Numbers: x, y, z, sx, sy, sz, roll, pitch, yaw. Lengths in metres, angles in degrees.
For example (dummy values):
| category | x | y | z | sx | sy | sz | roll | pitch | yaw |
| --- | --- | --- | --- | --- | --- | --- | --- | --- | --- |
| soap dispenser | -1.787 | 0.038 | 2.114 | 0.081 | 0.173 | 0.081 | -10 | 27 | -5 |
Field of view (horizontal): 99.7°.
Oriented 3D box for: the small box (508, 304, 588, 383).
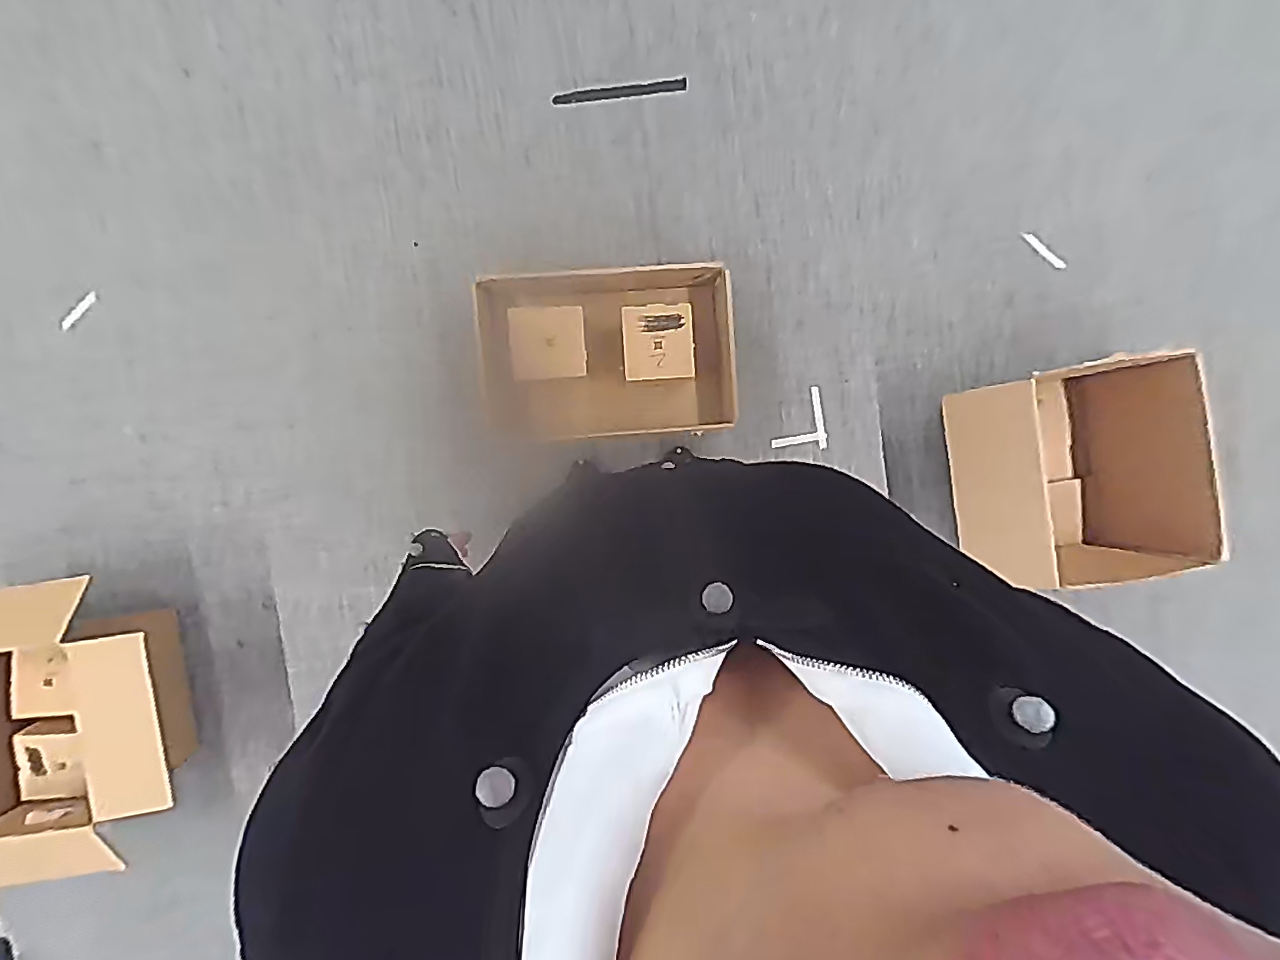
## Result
| category | x | y | z | sx | sy | sz | roll | pitch | yaw |
| --- | --- | --- | --- | --- | --- | --- | --- | --- | --- |
| small box | -0.224 | -0.335 | 1.348 | 0.179 | 0.176 | 0.168 | -4 | 95 | -4 |
